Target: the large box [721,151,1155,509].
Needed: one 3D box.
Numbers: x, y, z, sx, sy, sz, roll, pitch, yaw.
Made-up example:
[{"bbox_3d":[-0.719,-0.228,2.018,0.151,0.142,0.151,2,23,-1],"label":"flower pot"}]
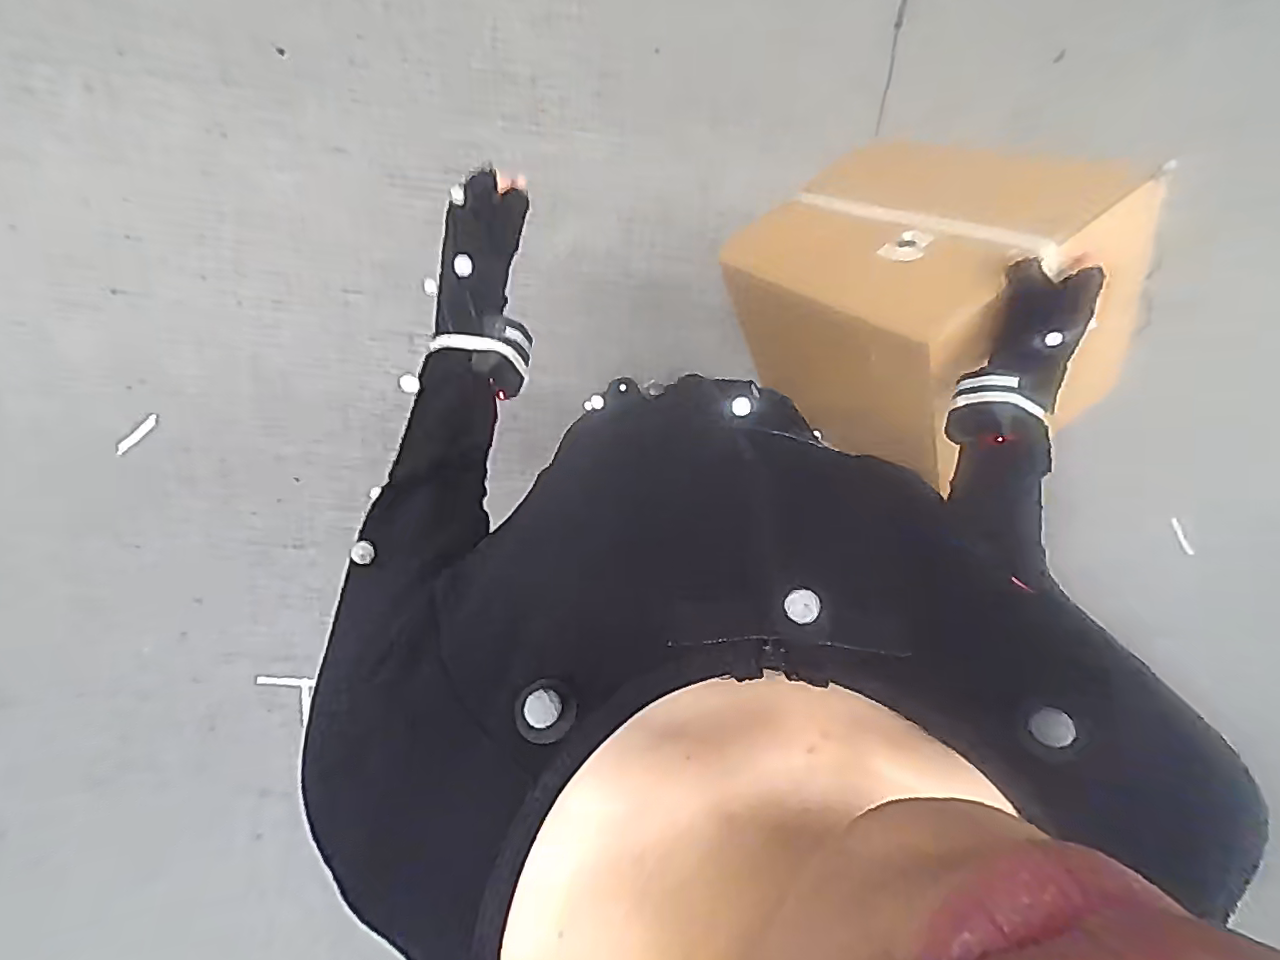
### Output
[{"bbox_3d":[0.387,-0.235,0.798,0.320,0.408,0.320,-36,133,-2],"label":"large box"}]
